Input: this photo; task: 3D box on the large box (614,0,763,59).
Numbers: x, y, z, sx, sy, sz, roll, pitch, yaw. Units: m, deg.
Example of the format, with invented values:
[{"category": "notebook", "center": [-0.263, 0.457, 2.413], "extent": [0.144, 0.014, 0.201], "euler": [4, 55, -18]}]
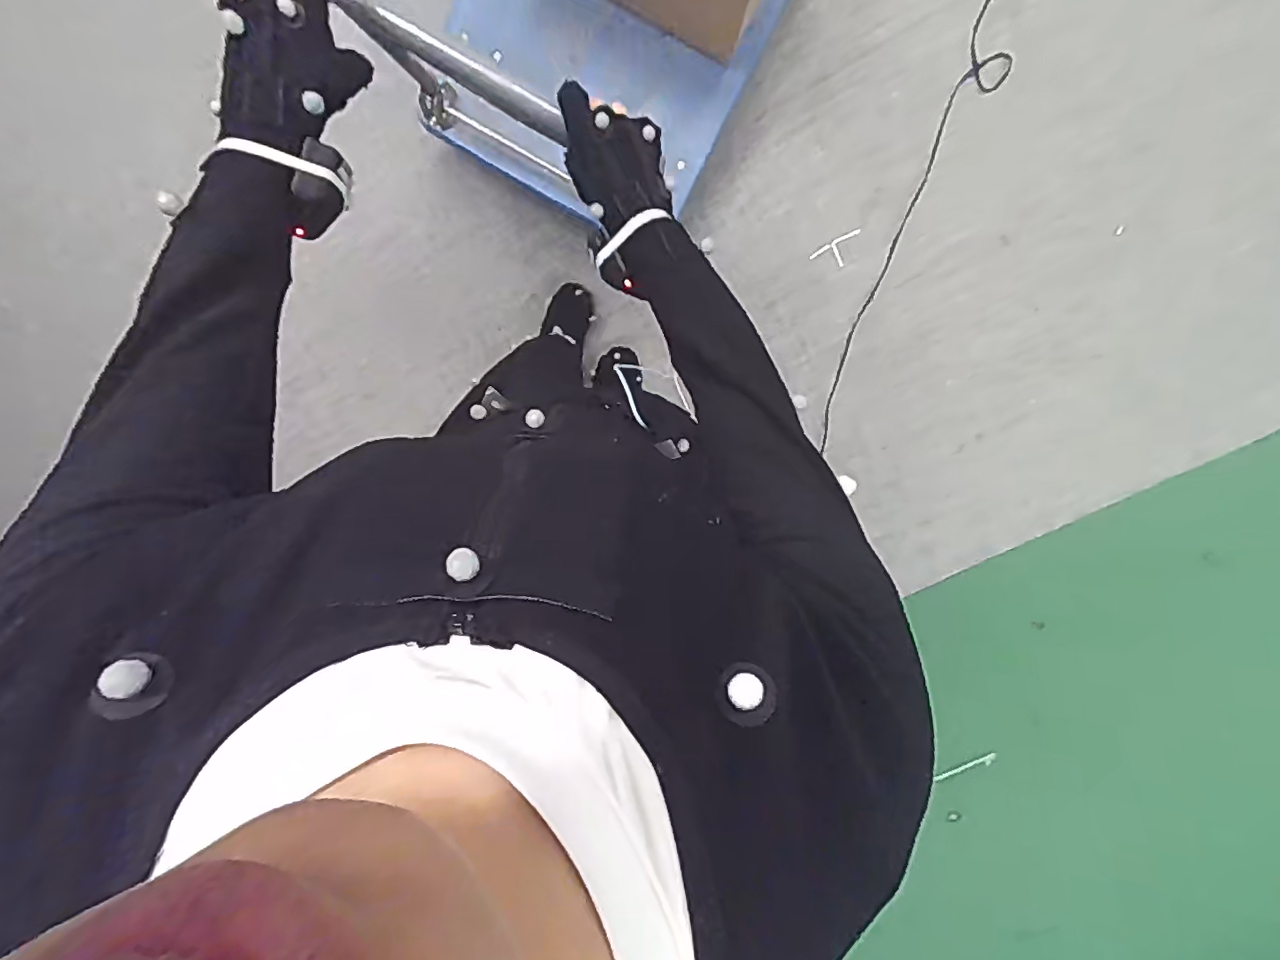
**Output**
[{"category": "large box", "center": [0.070, -1.010, 0.891], "extent": [0.408, 0.320, 0.320], "euler": [24, 104, -5]}]
